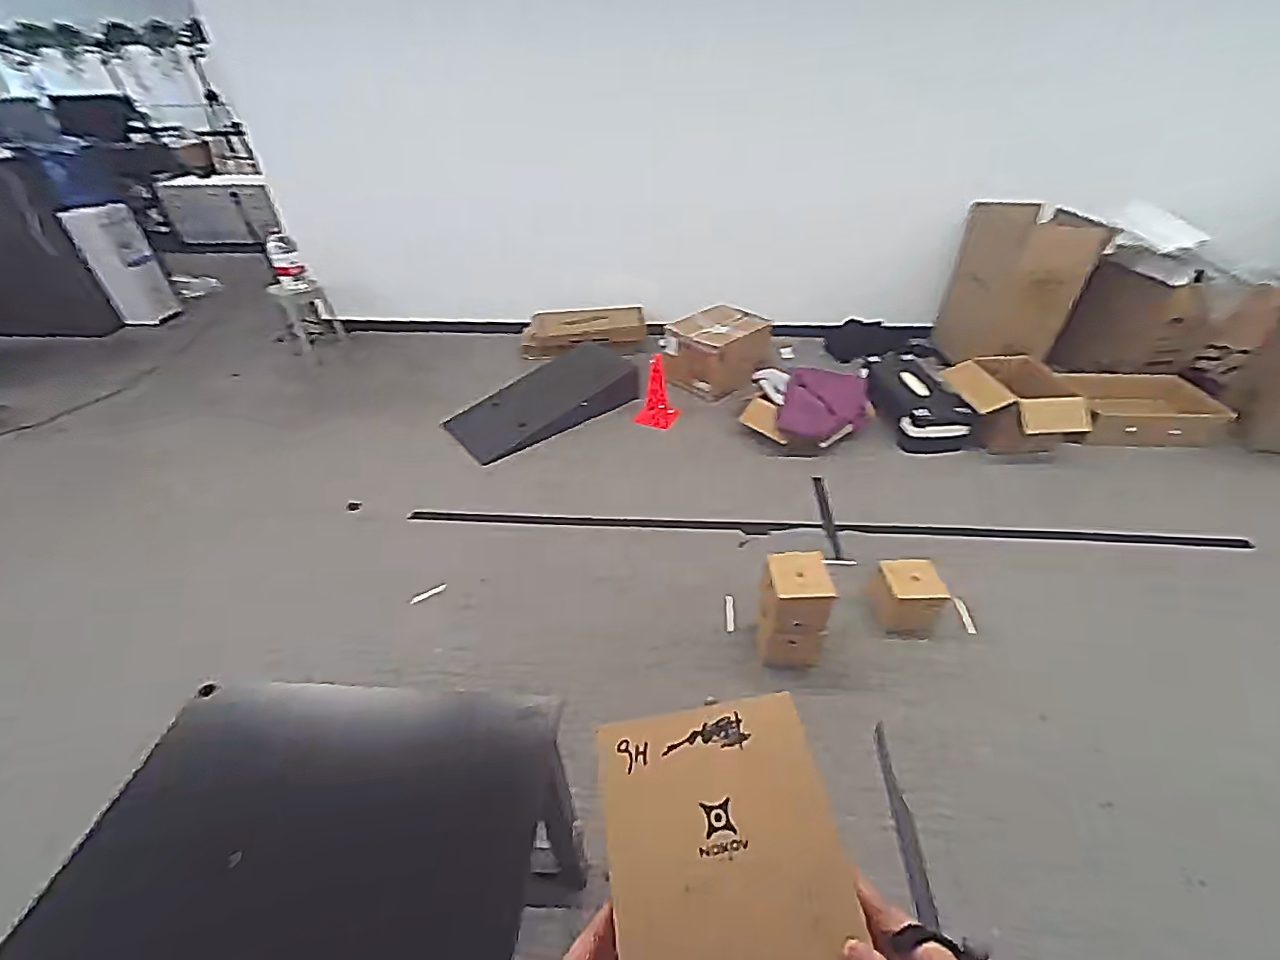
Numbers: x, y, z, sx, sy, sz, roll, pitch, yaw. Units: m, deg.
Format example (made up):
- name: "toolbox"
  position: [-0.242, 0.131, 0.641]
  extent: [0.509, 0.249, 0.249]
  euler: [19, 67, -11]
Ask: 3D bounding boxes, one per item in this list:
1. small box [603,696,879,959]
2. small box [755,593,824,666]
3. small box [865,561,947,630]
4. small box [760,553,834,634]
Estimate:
- name: "small box"
  position: [0.067, 0.304, 0.453]
  extent: [0.168, 0.176, 0.179]
  euler: [-9, 52, -3]
- name: "small box"
  position: [0.468, 0.476, 1.725]
  extent: [0.179, 0.176, 0.168]
  euler: [0, 38, 2]
- name: "small box"
  position: [0.890, 0.391, 1.824]
  extent: [0.179, 0.176, 0.168]
  euler: [-2, 38, -1]
- name: "small box"
  position: [0.465, 0.341, 1.634]
  extent: [0.168, 0.176, 0.179]
  euler: [-3, 39, 0]
